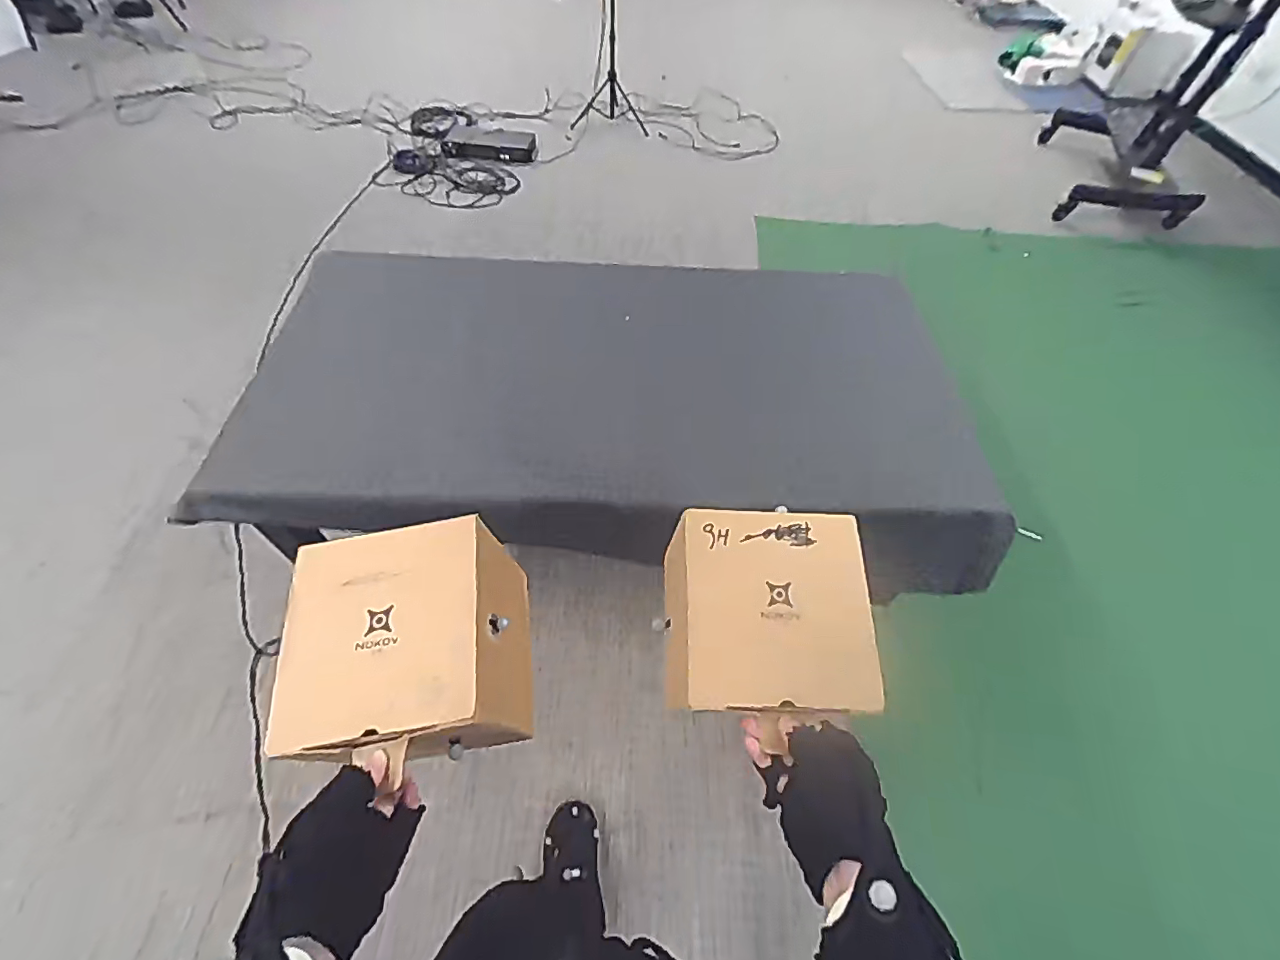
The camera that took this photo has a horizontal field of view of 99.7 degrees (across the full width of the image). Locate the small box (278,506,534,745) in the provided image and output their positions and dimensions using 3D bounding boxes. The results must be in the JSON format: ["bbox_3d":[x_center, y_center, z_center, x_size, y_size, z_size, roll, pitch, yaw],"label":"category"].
[{"bbox_3d":[-0.205,0.150,0.525,0.168,0.176,0.179,-11,59,-1],"label":"small box"}]
